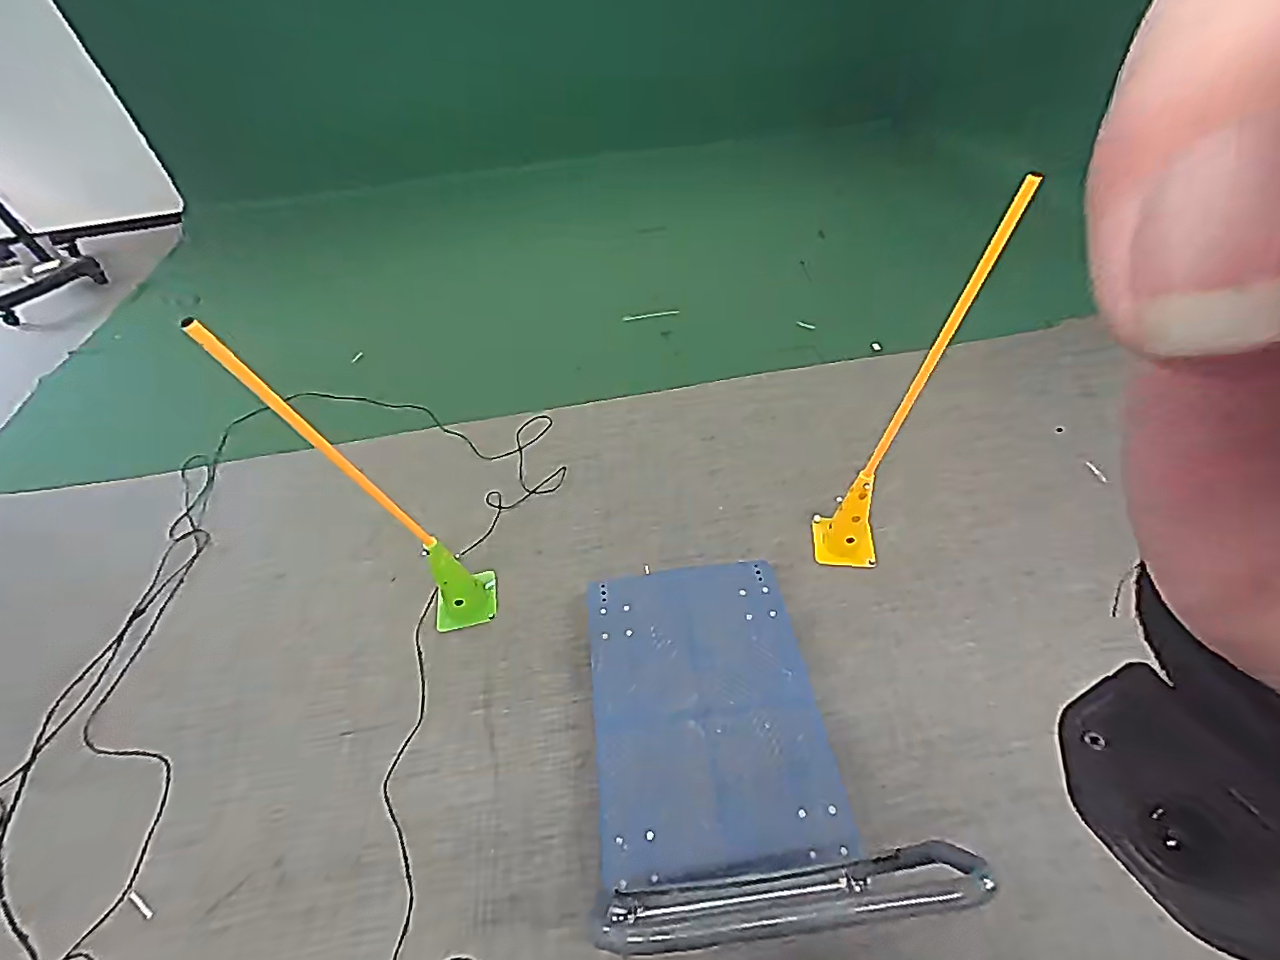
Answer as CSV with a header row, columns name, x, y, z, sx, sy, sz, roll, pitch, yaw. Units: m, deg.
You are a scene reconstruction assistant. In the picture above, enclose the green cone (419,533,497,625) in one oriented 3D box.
name,x,y,z,sx,sy,sz,roll,pitch,yaw
green cone,-0.615,0.283,1.745,0.202,0.368,0.200,-14,49,-4
